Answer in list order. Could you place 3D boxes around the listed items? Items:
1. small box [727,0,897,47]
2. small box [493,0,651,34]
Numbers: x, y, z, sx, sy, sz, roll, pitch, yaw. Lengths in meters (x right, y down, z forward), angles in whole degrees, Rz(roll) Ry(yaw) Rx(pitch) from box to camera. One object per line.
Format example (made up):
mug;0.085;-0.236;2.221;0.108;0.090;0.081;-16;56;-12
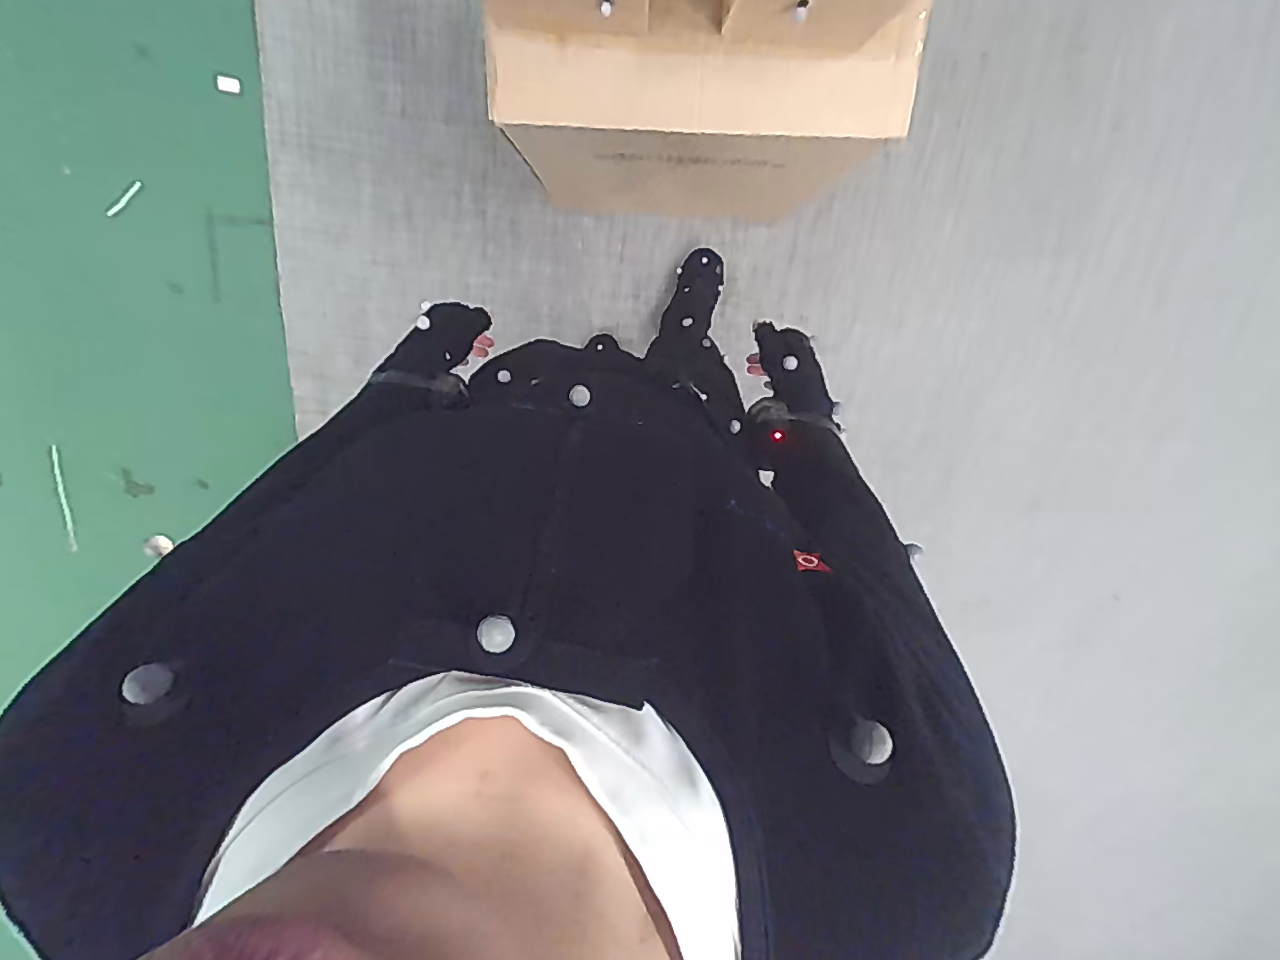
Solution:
small box;0.190;-0.573;0.549;0.179;0.176;0.168;4;112;-1
small box;-0.072;-0.585;0.546;0.179;0.176;0.168;2;110;0
